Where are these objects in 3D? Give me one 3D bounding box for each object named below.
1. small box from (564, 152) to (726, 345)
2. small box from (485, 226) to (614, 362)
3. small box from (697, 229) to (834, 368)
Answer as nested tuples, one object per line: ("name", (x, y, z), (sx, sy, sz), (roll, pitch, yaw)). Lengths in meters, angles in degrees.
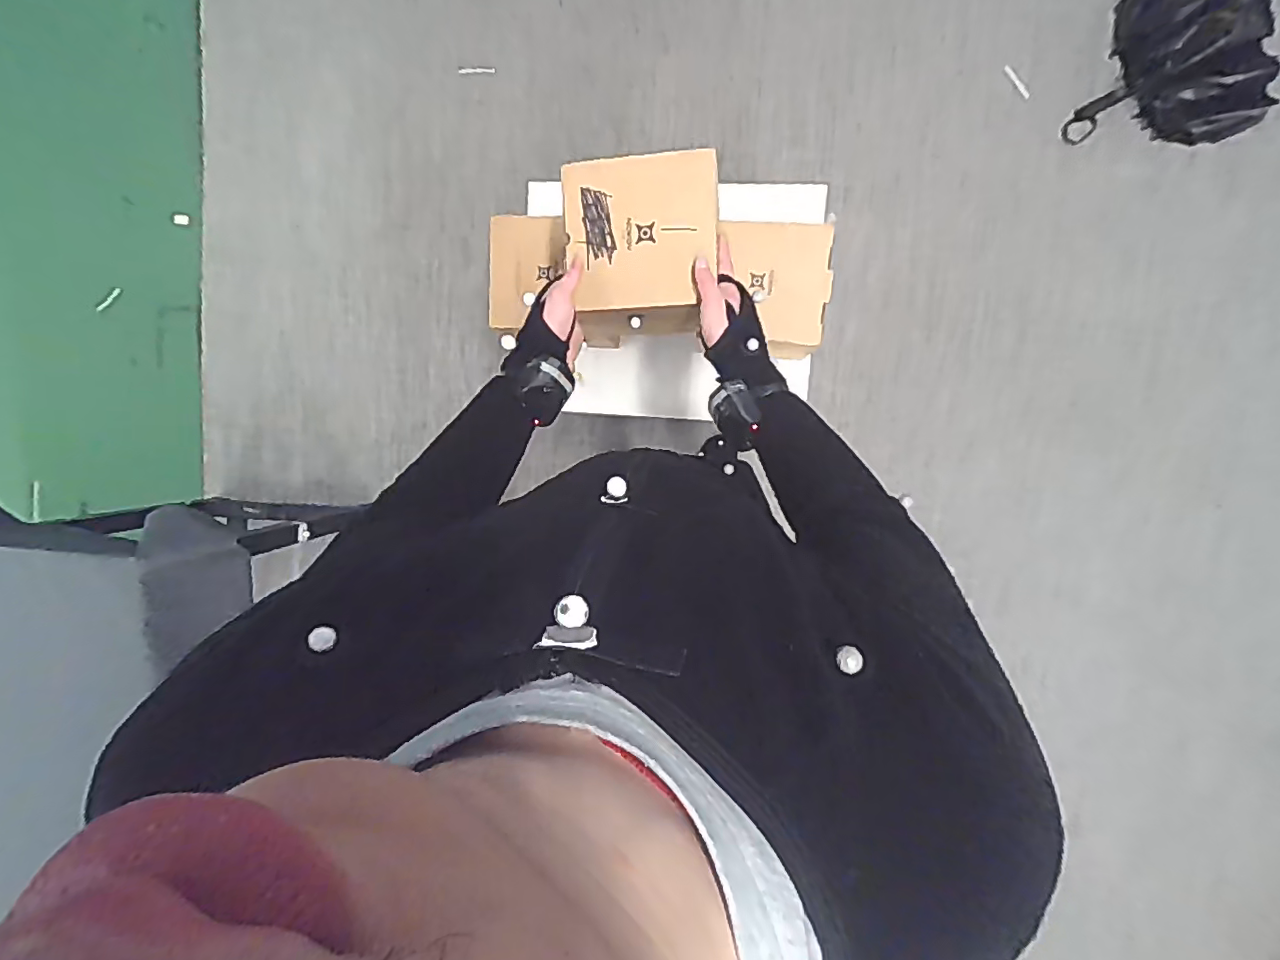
("small box", (0.015, -0.267, 0.665), (0.179, 0.176, 0.168), (-2, 94, 7))
("small box", (-0.131, -0.285, 0.855), (0.179, 0.176, 0.168), (1, 93, 5))
("small box", (0.181, -0.267, 0.828), (0.179, 0.176, 0.168), (4, 95, 6))
